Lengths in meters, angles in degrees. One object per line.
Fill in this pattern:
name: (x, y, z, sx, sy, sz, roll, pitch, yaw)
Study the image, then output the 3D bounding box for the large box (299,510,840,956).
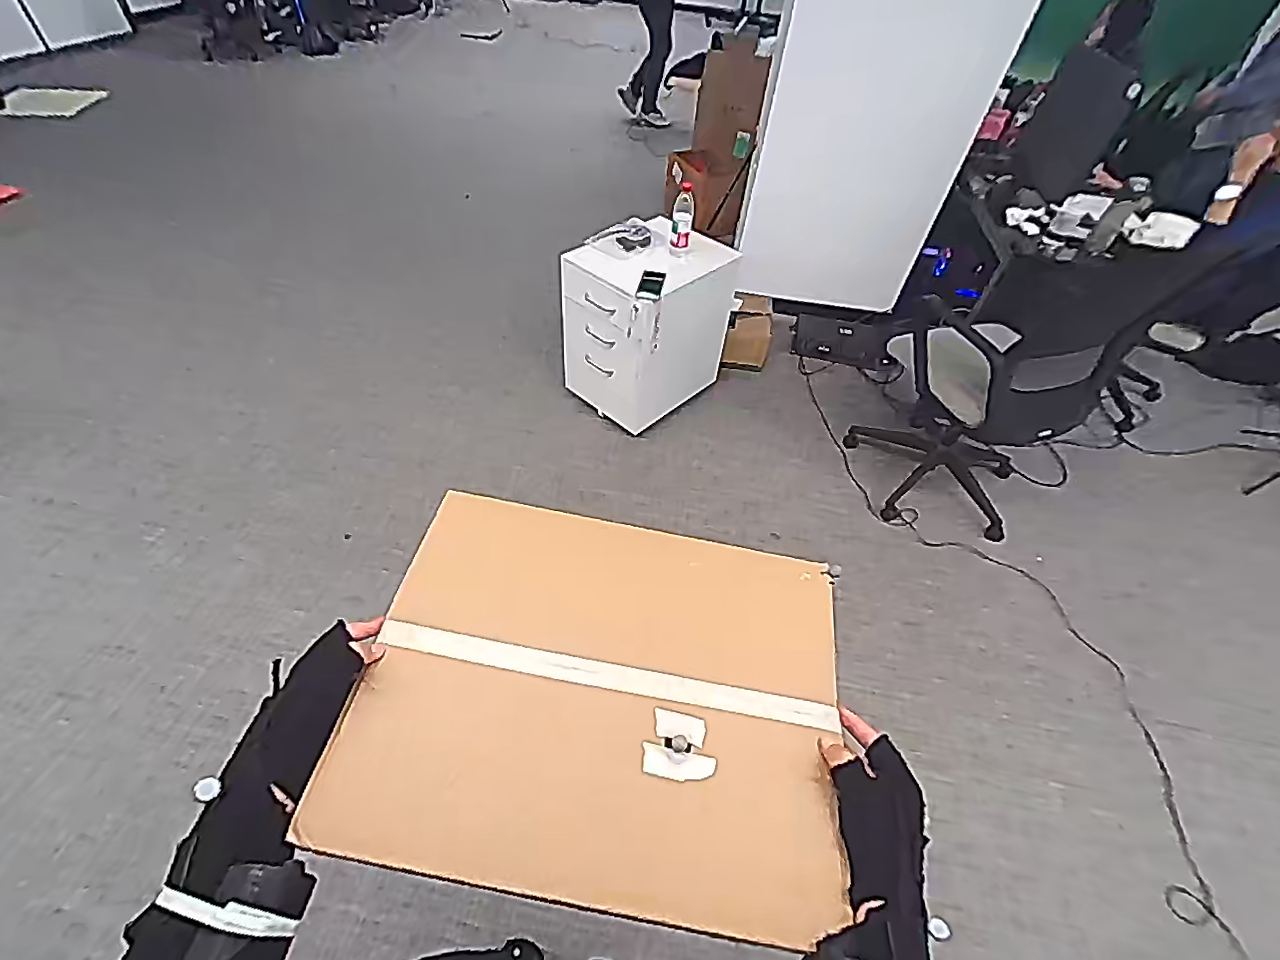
large box: (-0.048, 0.274, 0.592, 0.408, 0.320, 0.320, 12, 53, 0)
